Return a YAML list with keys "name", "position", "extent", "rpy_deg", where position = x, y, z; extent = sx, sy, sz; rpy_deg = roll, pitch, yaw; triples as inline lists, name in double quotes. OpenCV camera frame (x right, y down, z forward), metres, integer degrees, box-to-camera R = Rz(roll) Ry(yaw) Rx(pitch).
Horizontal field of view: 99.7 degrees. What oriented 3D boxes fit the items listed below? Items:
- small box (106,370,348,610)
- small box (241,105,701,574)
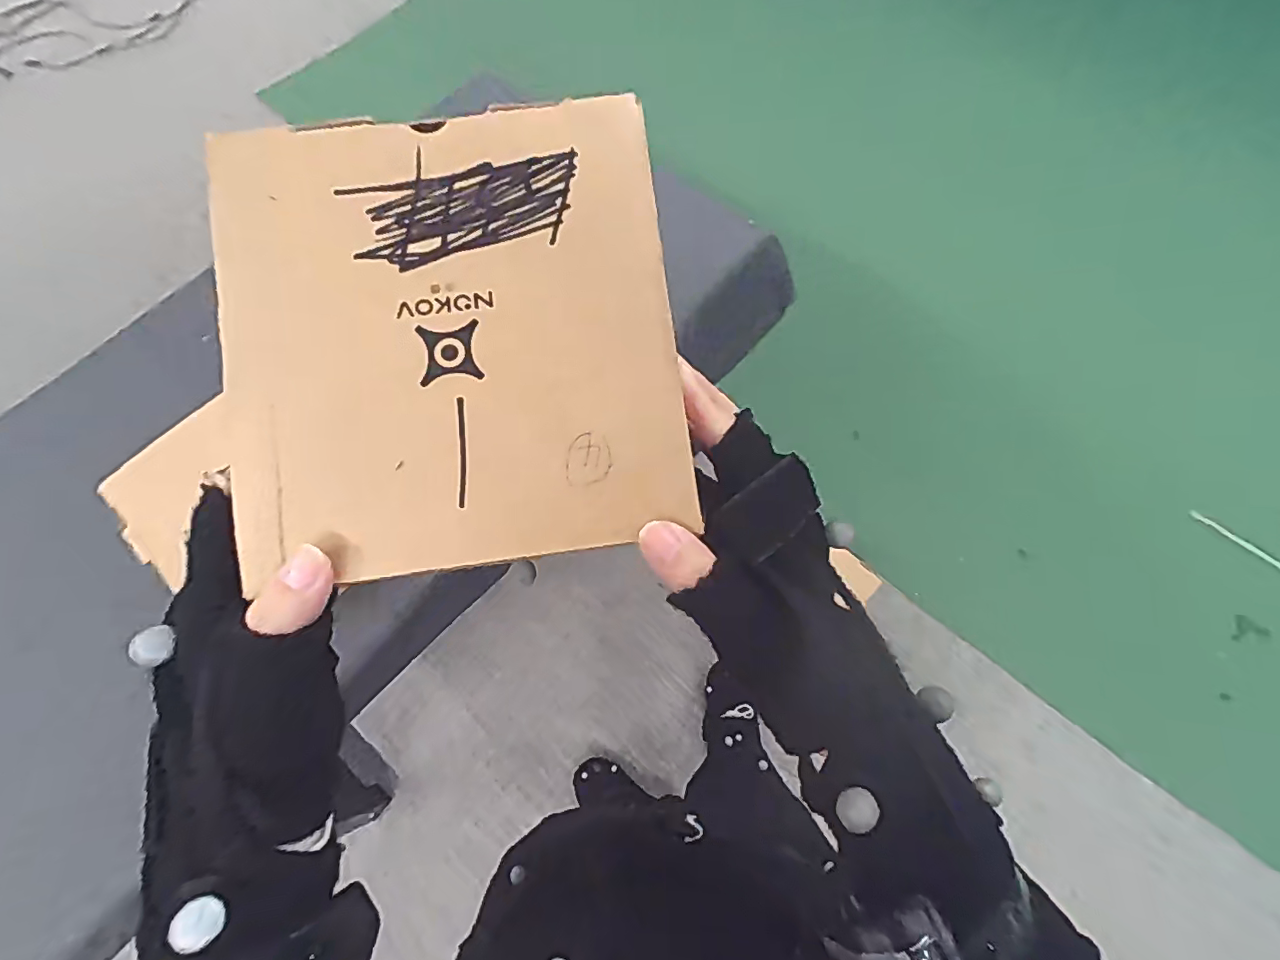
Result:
- name: "small box"
  position: [-0.384, 0.018, 0.581]
  extent: [0.168, 0.176, 0.179]
  rpy_deg: [42, 75, 16]
- name: "small box"
  position: [-0.068, -0.050, 0.284]
  extent: [0.168, 0.176, 0.179]
  rpy_deg: [-6, 85, -2]
